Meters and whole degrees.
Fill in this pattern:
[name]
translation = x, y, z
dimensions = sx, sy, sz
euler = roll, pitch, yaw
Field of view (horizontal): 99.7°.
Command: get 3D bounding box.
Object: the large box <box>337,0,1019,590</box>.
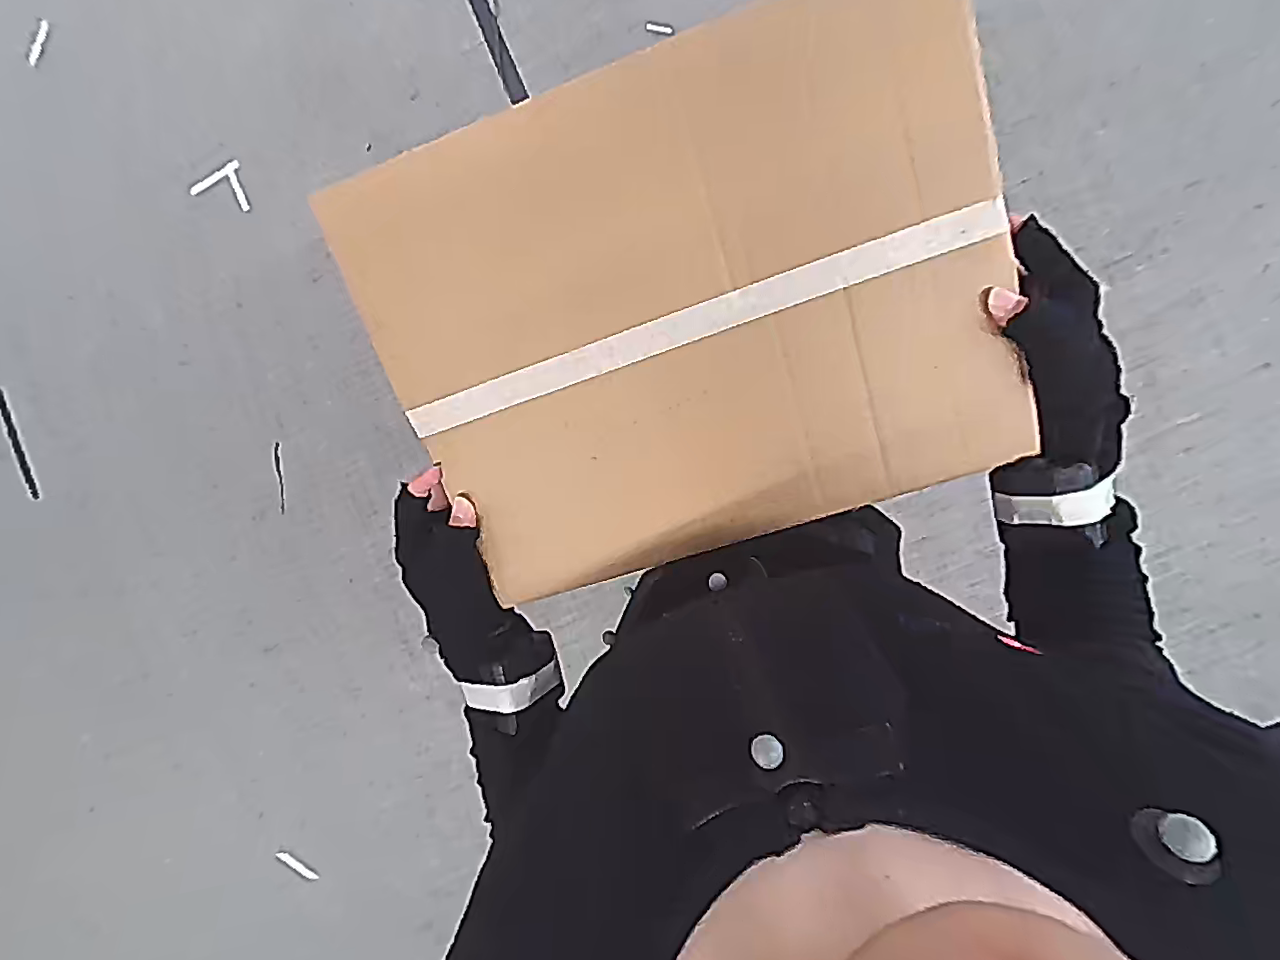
[large box]
translation = 0.037, -0.150, 0.510
dimensions = 0.408, 0.320, 0.320
euler = -17, 106, 8
